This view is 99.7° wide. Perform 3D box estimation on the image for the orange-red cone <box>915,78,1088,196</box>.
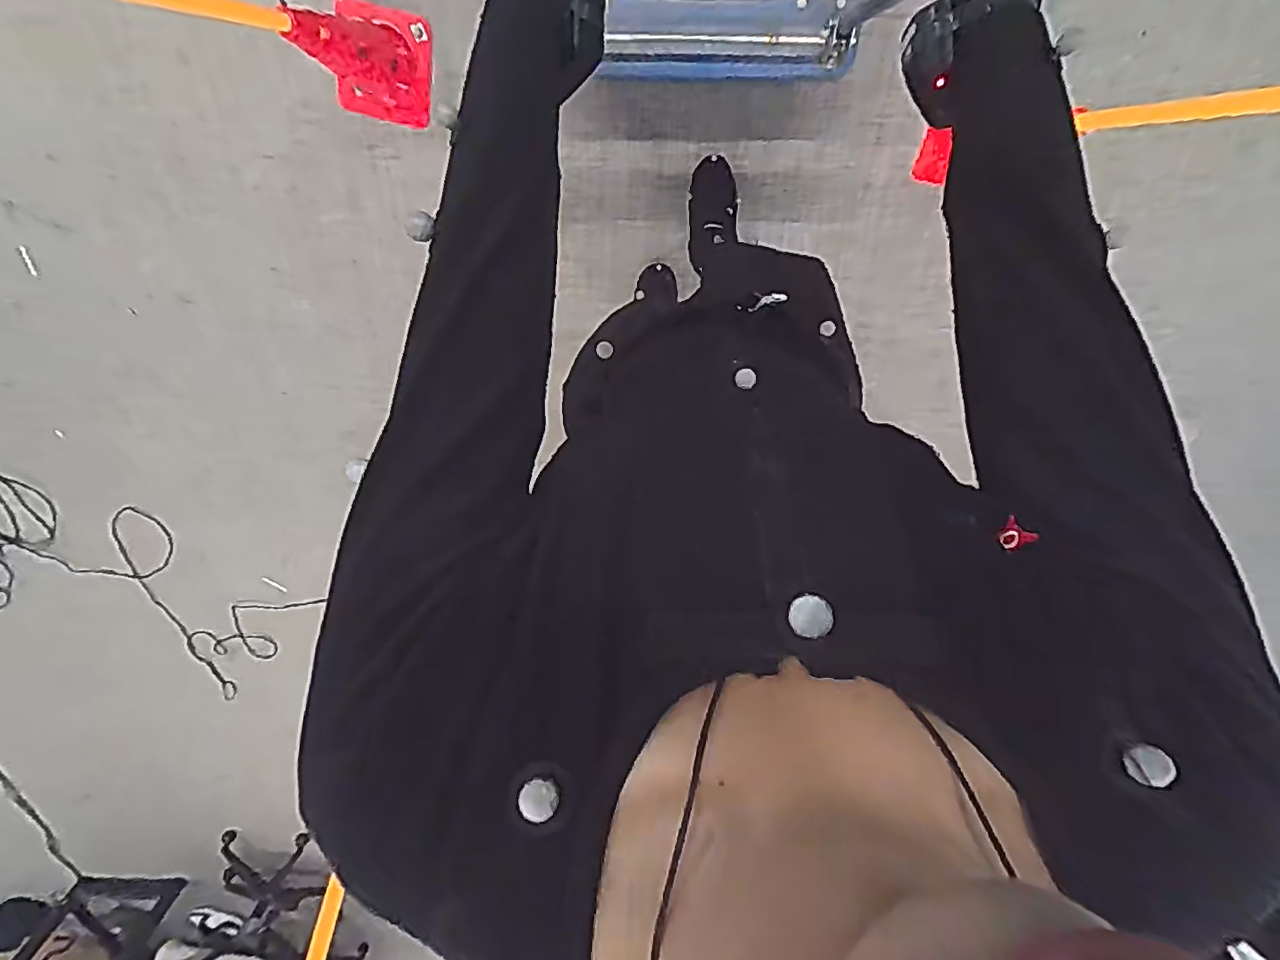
[{"bbox_3d":[0.726,-0.669,1.043,0.198,0.360,0.199,11,119,-4],"label":"orange-red cone"}]
